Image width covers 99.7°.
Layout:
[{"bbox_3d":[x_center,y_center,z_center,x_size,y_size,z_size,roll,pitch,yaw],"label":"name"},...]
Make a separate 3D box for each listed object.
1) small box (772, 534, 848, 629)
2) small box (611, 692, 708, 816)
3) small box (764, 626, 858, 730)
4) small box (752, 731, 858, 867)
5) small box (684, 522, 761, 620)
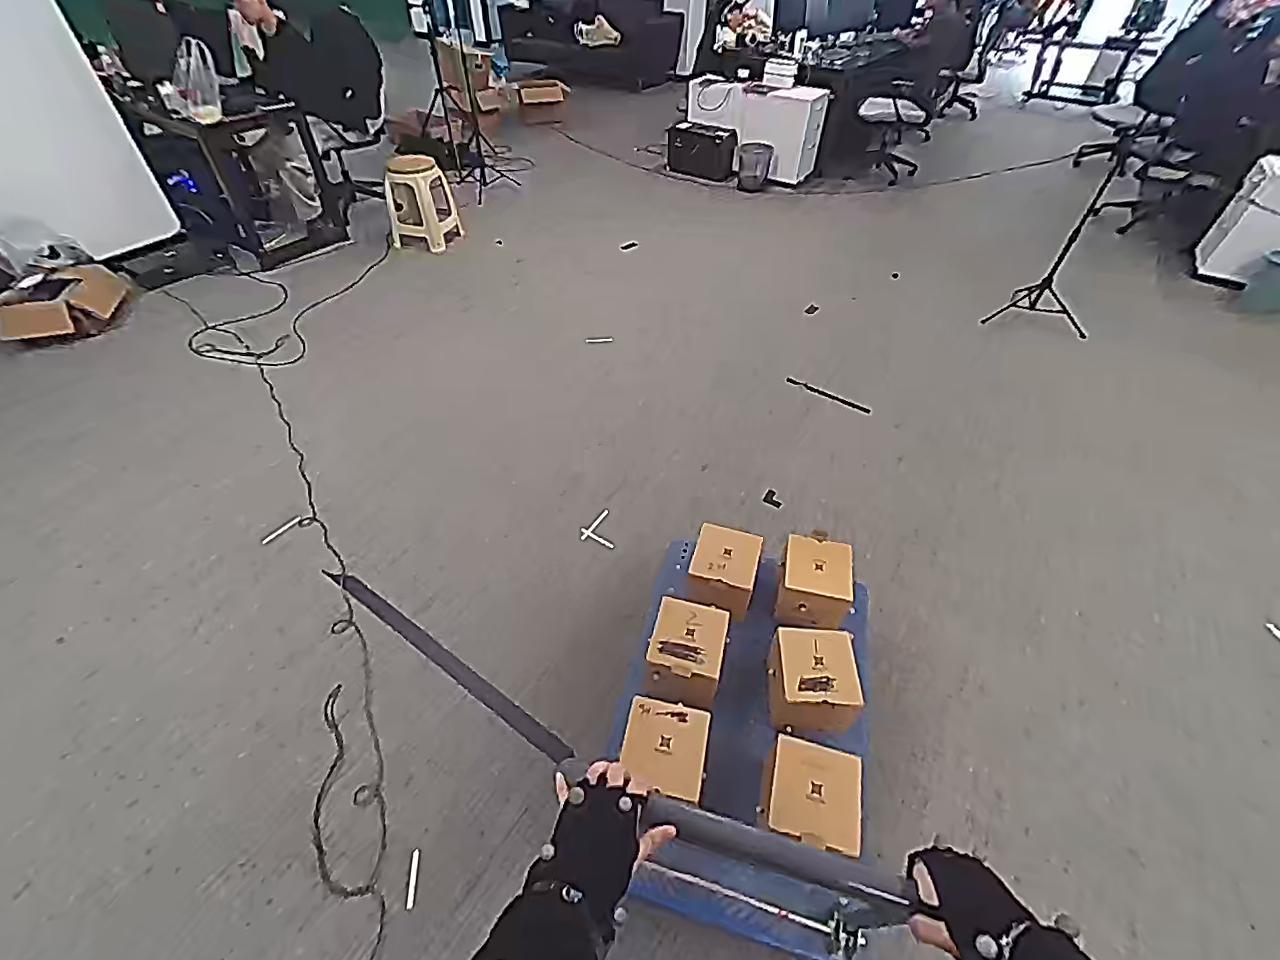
[{"bbox_3d":[0.453,0.275,1.451,0.168,0.176,0.179,11,47,9],"label":"small box"},{"bbox_3d":[0.043,0.584,1.144,0.168,0.176,0.179,11,47,8],"label":"small box"},{"bbox_3d":[0.391,0.466,1.266,0.168,0.176,0.179,4,45,3],"label":"small box"},{"bbox_3d":[0.330,0.647,1.092,0.168,0.176,0.179,14,46,11],"label":"small box"},{"bbox_3d":[0.220,0.248,1.468,0.168,0.176,0.179,14,48,12],"label":"small box"}]
